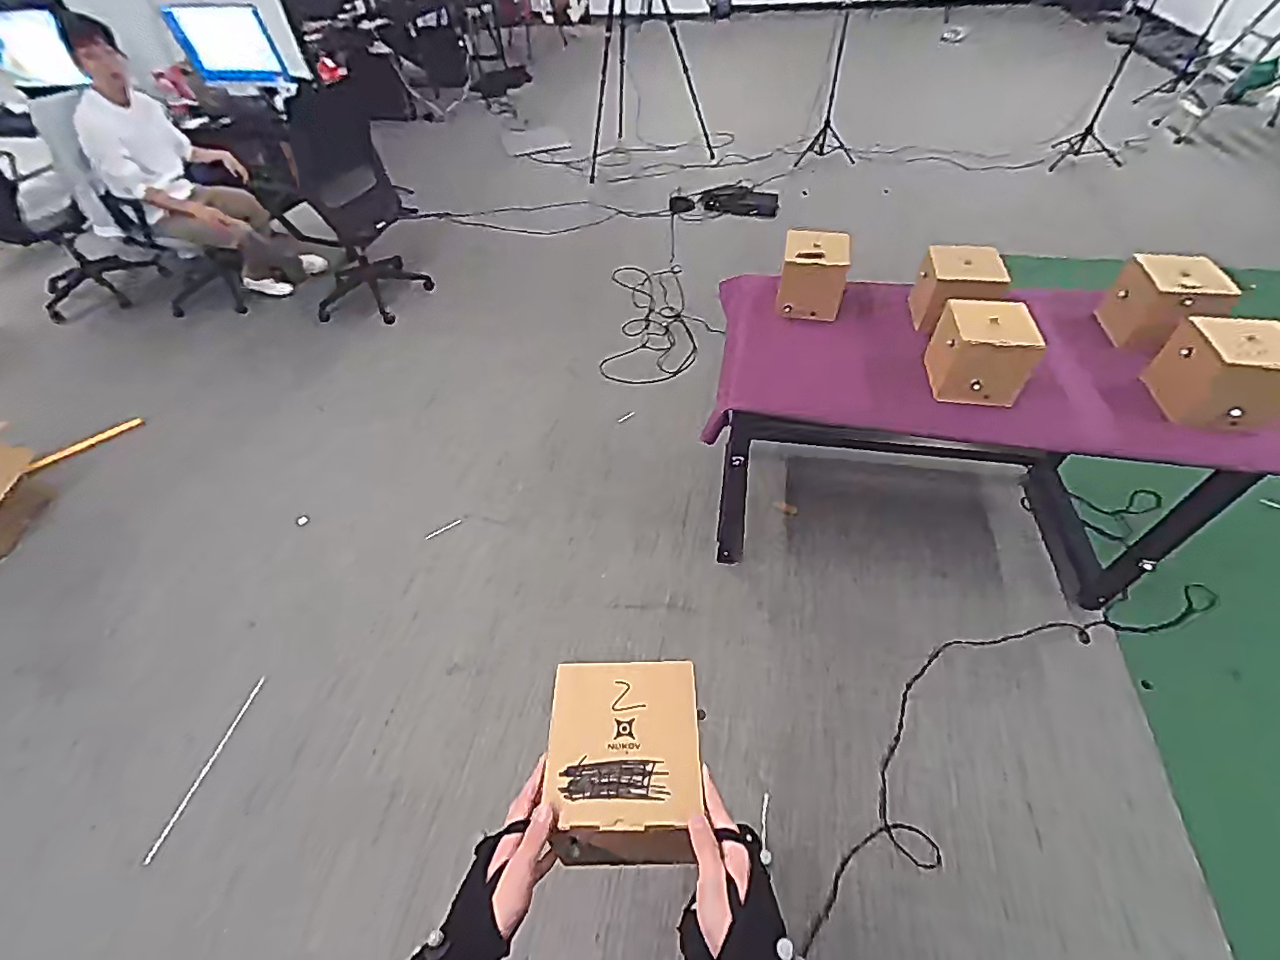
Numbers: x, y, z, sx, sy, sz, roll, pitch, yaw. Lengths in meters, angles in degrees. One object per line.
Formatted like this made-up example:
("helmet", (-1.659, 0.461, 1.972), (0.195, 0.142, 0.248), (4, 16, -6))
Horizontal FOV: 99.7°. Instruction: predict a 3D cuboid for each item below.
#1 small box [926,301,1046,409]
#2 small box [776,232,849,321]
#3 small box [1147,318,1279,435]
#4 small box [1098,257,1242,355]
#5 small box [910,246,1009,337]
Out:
("small box", (0.785, -0.290, 1.251), (0.168, 0.176, 0.179), (6, 50, 9))
("small box", (0.477, -0.563, 1.503), (0.168, 0.176, 0.179), (9, 51, 10))
("small box", (1.248, -0.222, 1.155), (0.168, 0.176, 0.179), (7, 49, 12))
("small box", (1.289, -0.428, 1.336), (0.168, 0.176, 0.179), (6, 49, 10))
("small box", (0.829, -0.491, 1.423), (0.168, 0.176, 0.179), (7, 51, 10))
